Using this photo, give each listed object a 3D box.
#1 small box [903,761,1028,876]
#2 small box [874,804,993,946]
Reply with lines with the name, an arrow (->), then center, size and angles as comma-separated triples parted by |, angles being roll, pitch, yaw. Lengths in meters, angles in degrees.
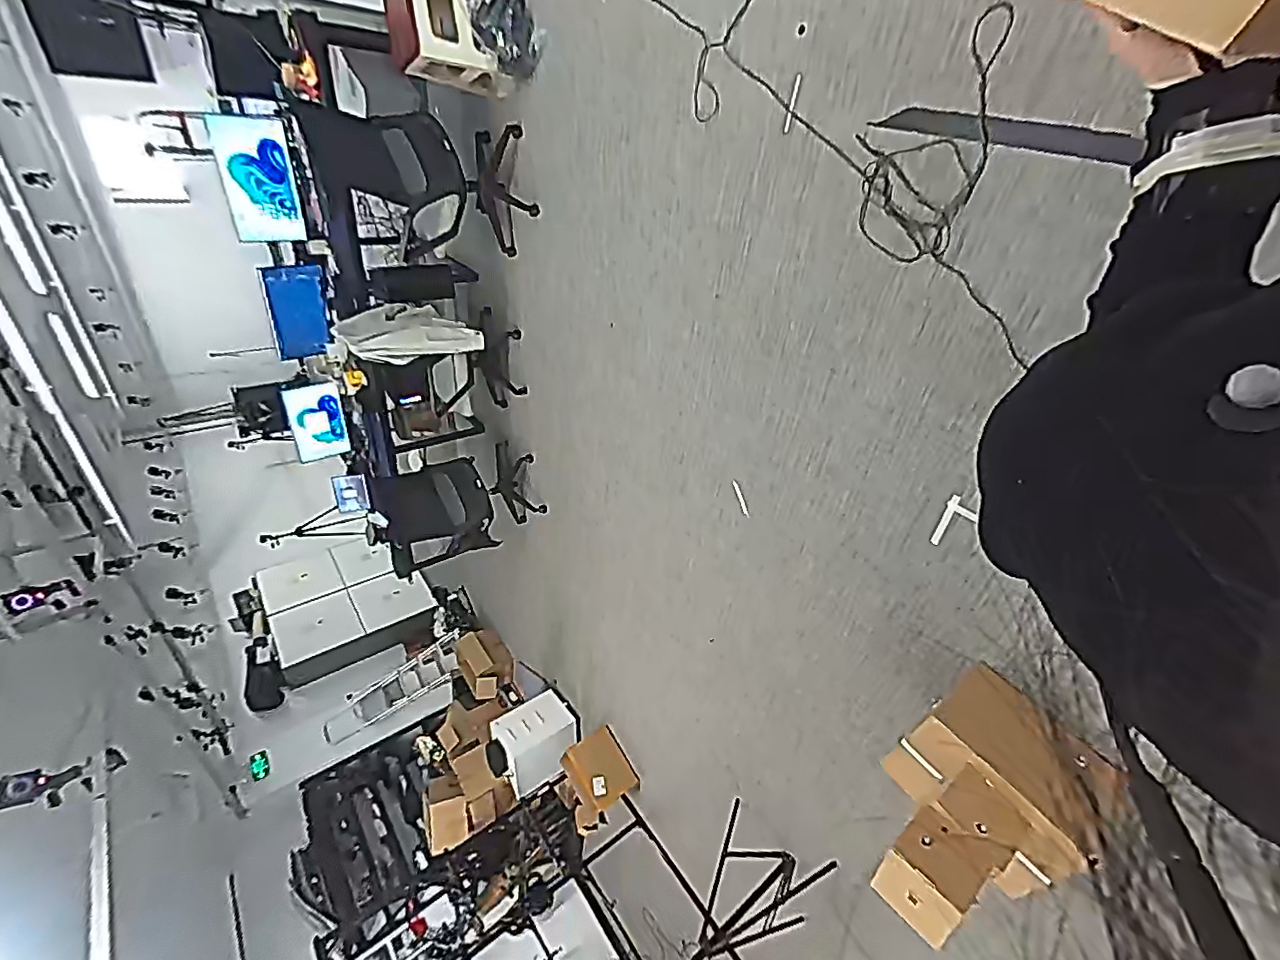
small box -> 0.806, 0.842, 1.336 | 0.179, 0.176, 0.168 | 47, 139, 31
small box -> 0.680, 0.903, 1.251 | 0.168, 0.176, 0.179 | 34, 133, 43
